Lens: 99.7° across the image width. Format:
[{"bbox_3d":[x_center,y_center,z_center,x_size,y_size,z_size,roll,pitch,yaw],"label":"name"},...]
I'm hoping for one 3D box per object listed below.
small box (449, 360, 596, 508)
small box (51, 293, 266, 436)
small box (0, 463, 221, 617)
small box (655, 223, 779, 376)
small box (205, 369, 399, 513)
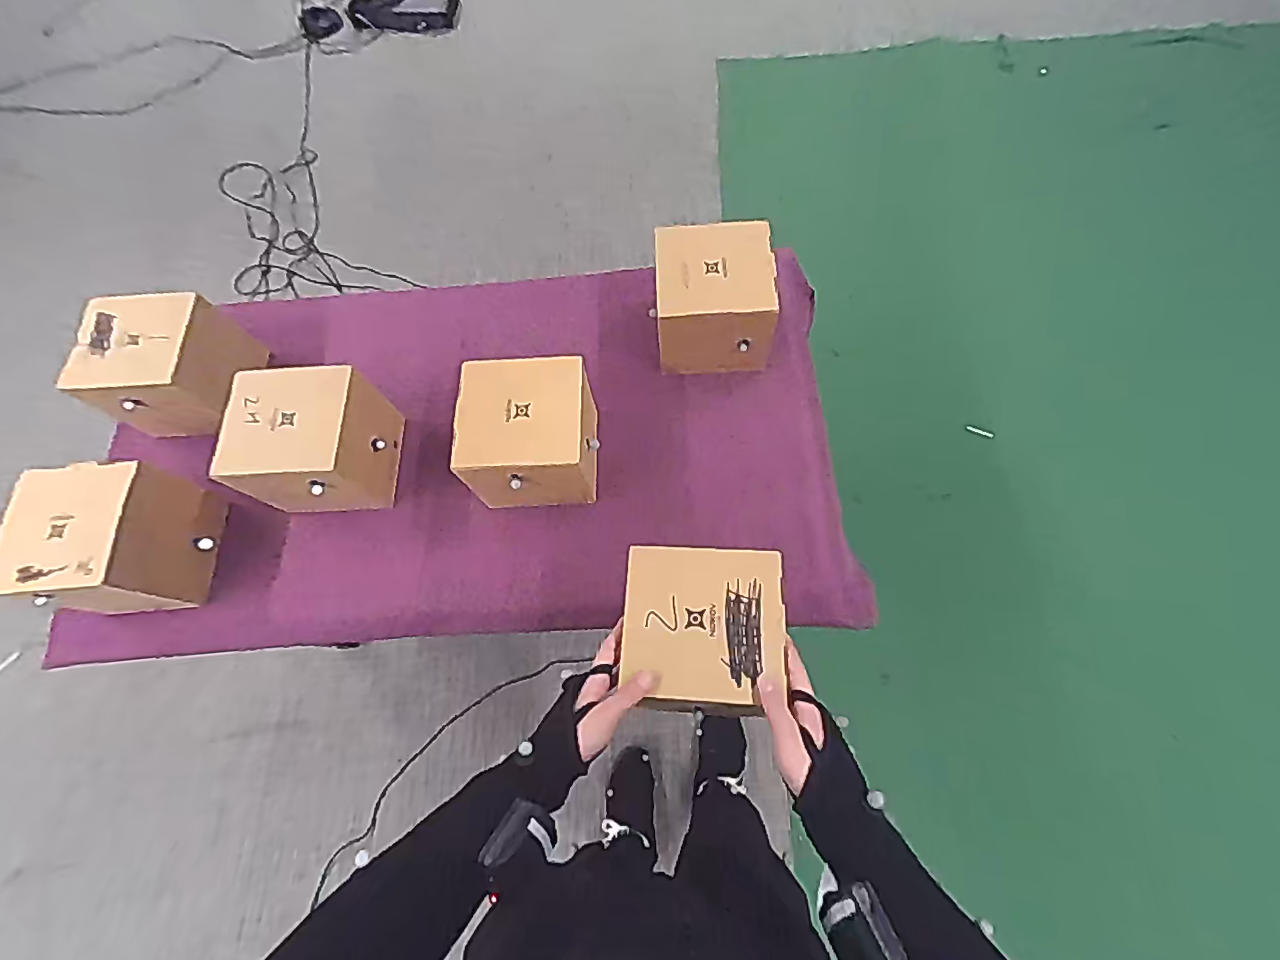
[{"bbox_3d":[-0.160,-0.060,0.802,0.179,0.176,0.168,-3,70,4],"label":"small box"},{"bbox_3d":[-0.764,-0.179,0.881,0.179,0.176,0.168,-3,70,2],"label":"small box"},{"bbox_3d":[-0.755,0.092,0.777,0.168,0.176,0.179,-5,68,2],"label":"small box"},{"bbox_3d":[0.114,-0.279,0.863,0.179,0.176,0.168,-2,71,4],"label":"small box"},{"bbox_3d":[-0.490,-0.052,0.816,0.179,0.176,0.168,-2,69,3],"label":"small box"}]
